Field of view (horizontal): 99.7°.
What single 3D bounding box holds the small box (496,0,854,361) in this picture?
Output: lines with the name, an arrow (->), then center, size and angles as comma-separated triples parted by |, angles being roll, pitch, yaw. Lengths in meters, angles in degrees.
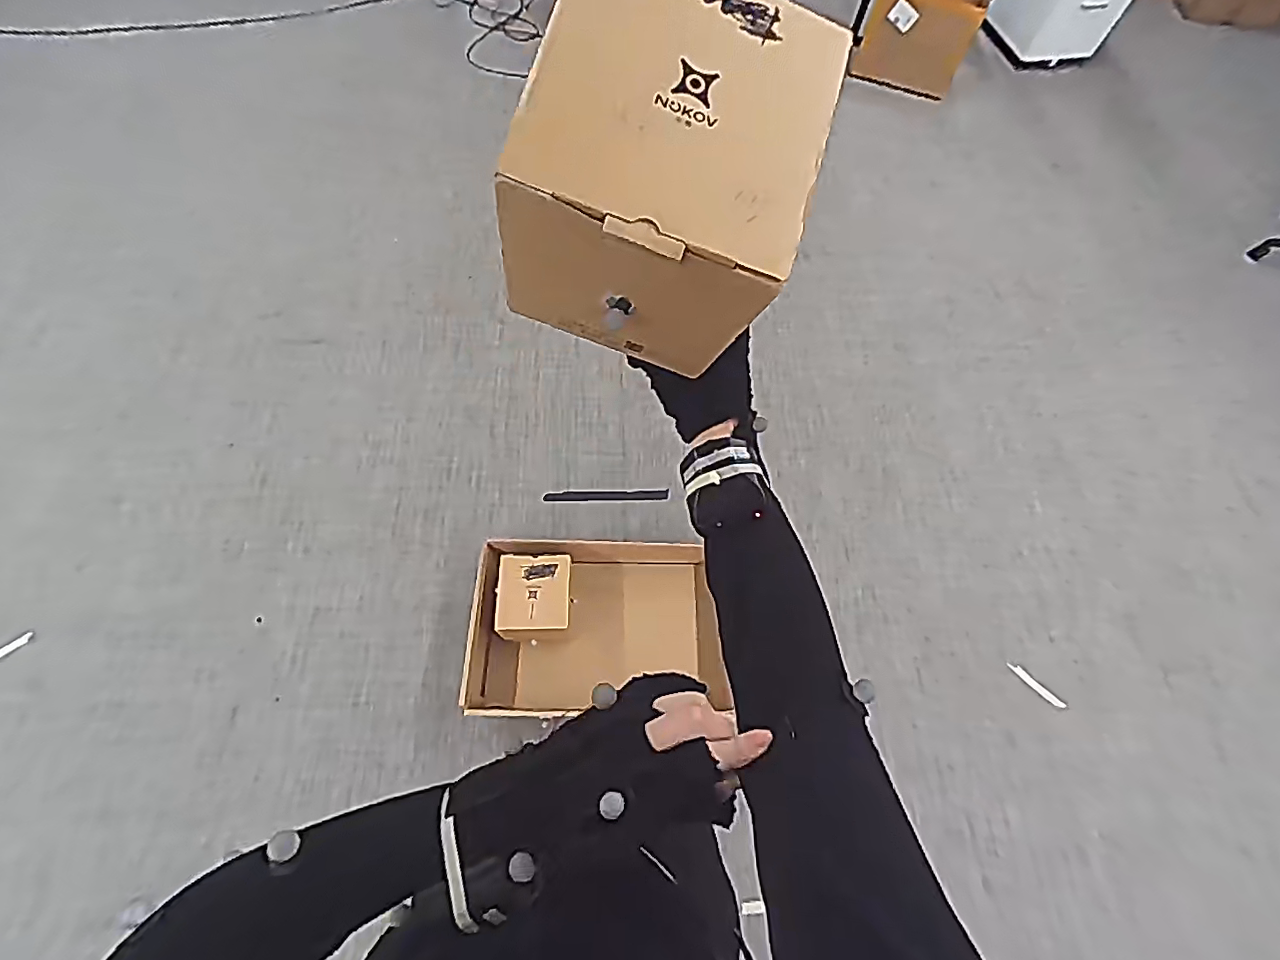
small box -> 0.013, -0.205, 0.376 | 0.168, 0.176, 0.179 | 18, 81, -8
